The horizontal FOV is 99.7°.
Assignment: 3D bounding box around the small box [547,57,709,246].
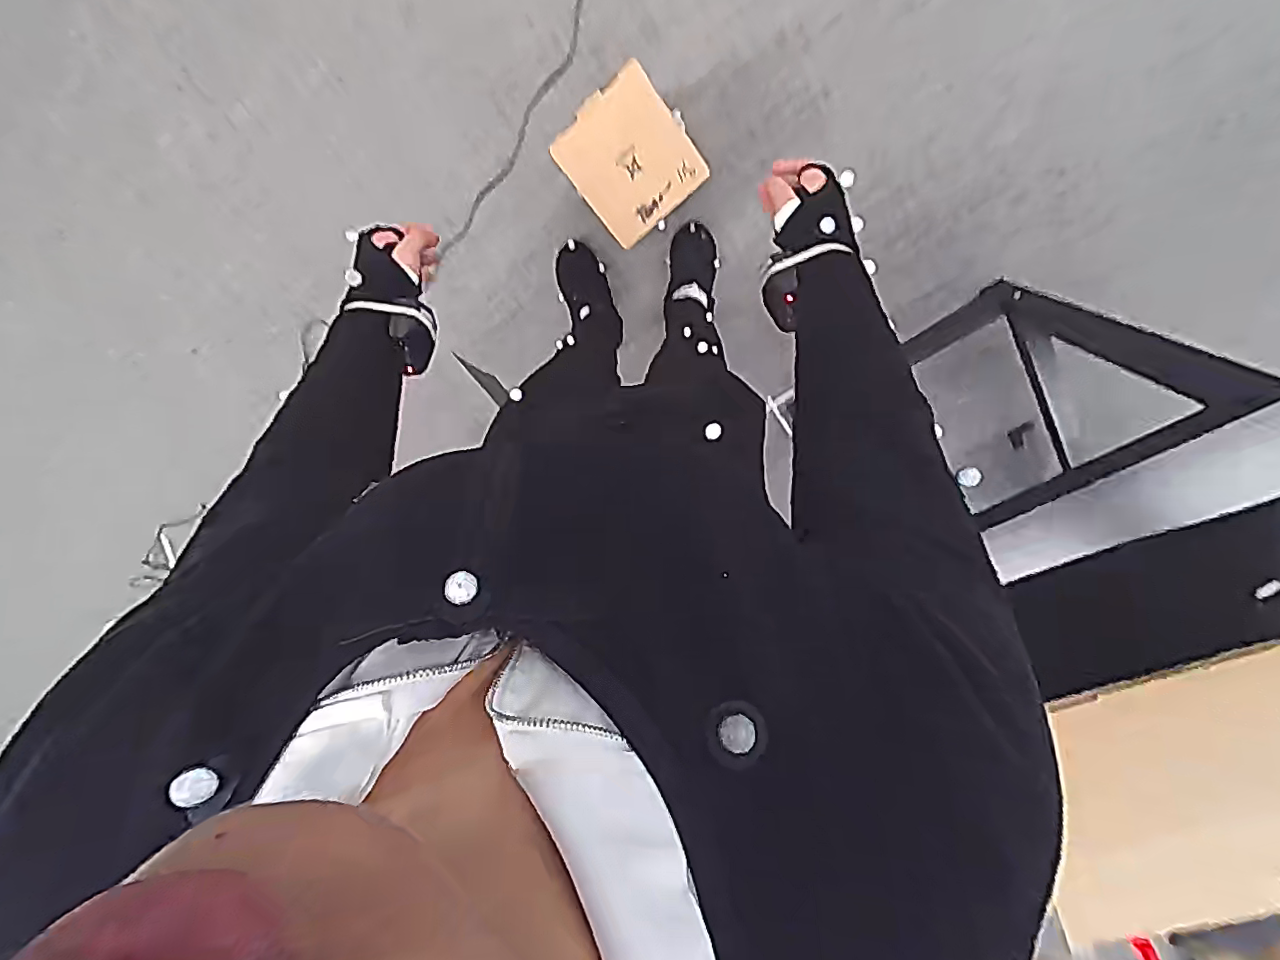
[{"bbox_3d":[-0.016,-0.495,0.837,0.168,0.176,0.179,-35,114,20],"label":"small box"}]
